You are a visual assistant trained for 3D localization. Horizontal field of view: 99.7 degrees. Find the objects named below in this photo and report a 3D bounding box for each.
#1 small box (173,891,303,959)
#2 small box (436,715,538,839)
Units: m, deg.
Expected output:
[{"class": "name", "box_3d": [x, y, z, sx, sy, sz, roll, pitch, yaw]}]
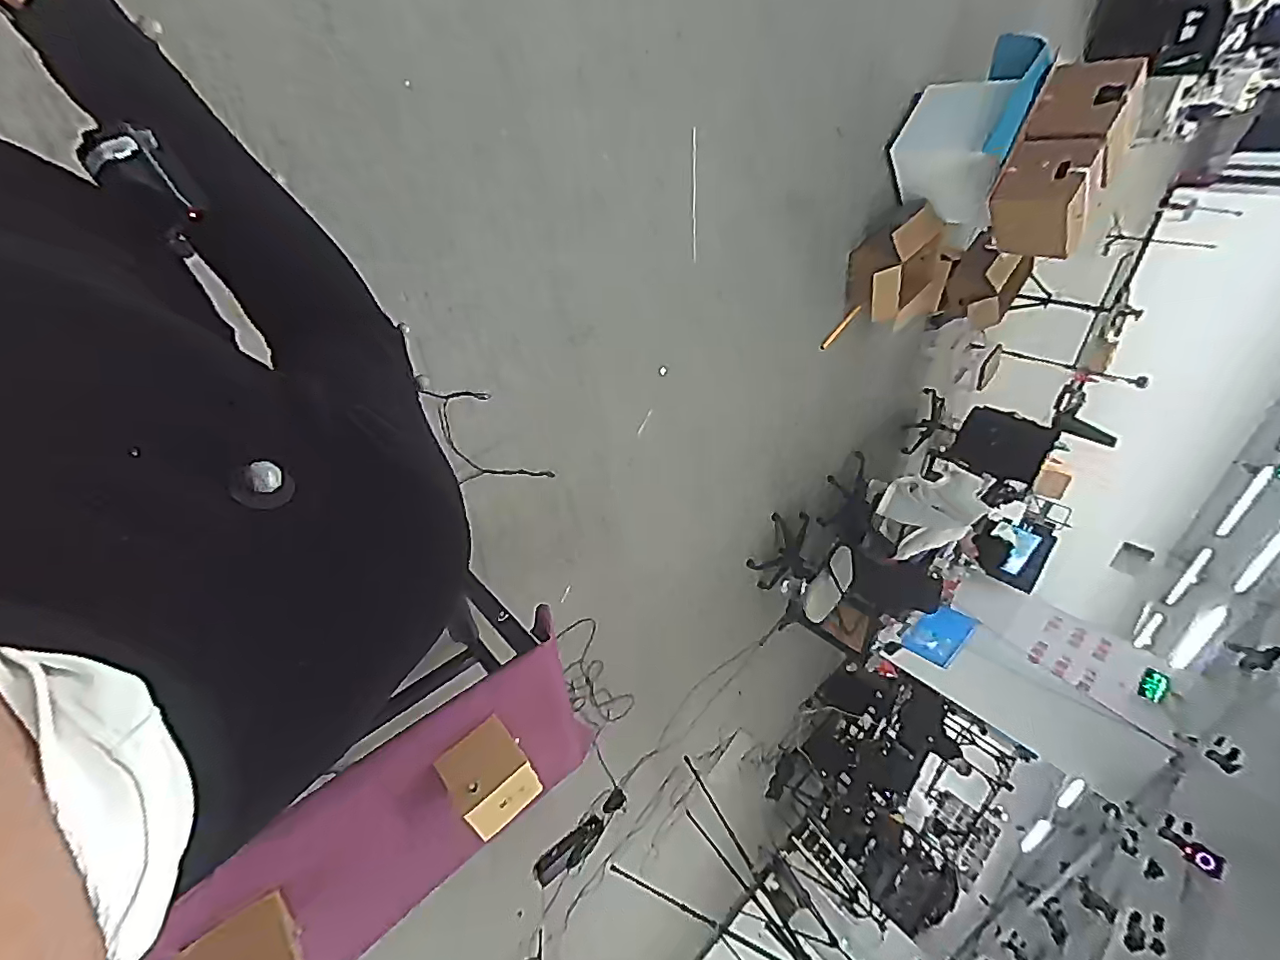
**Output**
[{"class": "small box", "box_3d": [-0.790, 0.983, 1.080, 0.179, 0.176, 0.168, -20, 128, -39]}, {"class": "small box", "box_3d": [-0.388, 0.739, 1.356, 0.179, 0.176, 0.168, -34, 136, -29]}]
